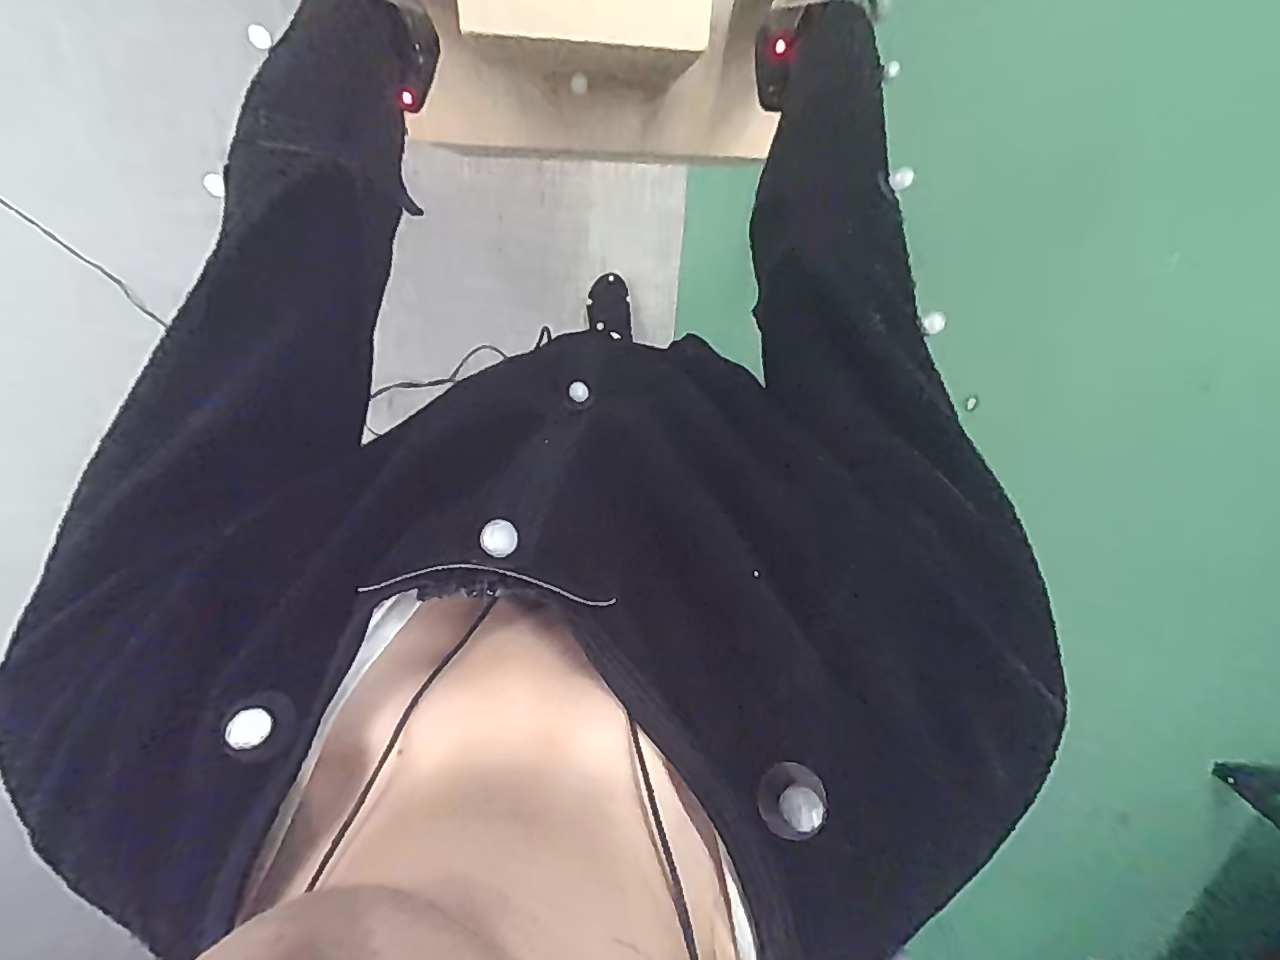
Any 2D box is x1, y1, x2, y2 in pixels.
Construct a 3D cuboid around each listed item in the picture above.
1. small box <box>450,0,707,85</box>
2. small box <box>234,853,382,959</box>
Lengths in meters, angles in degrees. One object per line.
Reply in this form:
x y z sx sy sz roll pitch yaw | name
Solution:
-0.040 -0.402 0.380 0.168 0.176 0.179 0 120 -6 | small box
-0.703 0.958 1.168 0.179 0.176 0.168 -25 108 7 | small box
